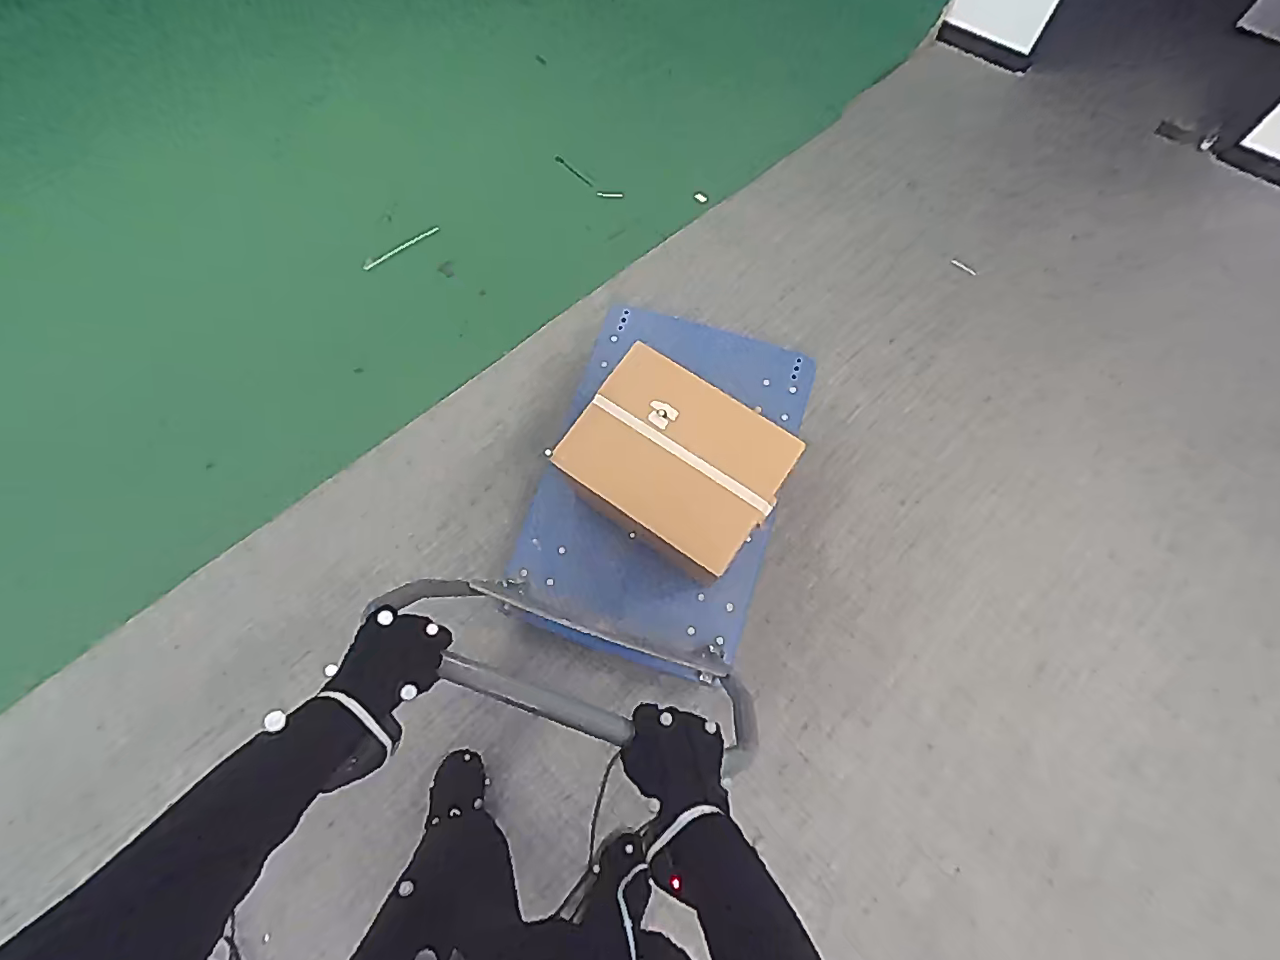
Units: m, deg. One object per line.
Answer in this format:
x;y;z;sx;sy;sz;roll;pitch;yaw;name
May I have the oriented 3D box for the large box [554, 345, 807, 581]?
0.089;-0.018;1.192;0.408;0.320;0.320;33;80;12;large box
